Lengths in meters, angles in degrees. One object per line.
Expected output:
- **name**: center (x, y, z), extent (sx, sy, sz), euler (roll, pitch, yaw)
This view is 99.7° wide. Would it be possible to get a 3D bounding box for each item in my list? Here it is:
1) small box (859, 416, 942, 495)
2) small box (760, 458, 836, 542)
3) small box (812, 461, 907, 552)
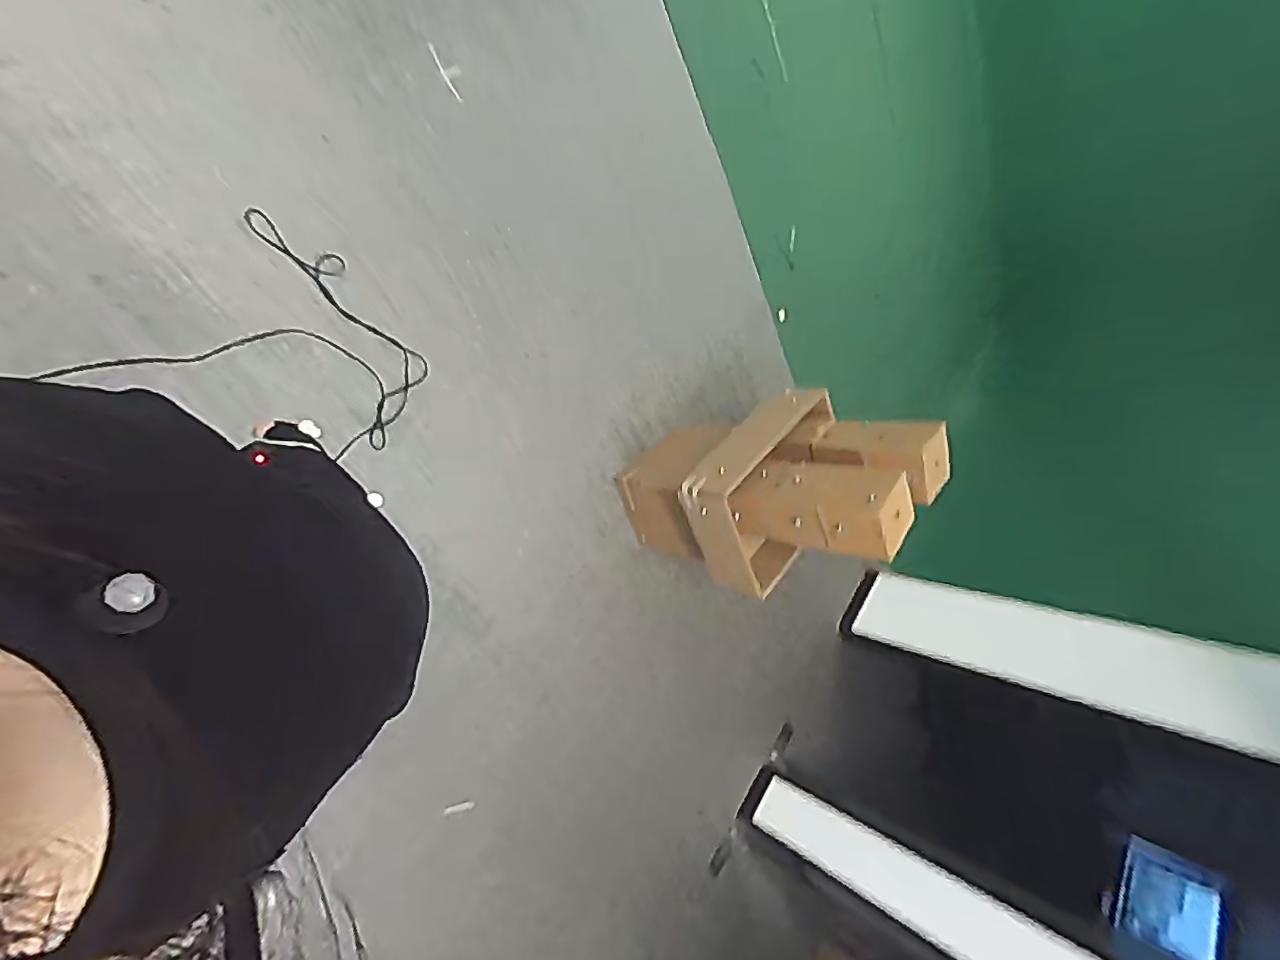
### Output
- **small box**: center (0.764, -0.077, 1.591), extent (0.168, 0.176, 0.179), euler (-37, 120, -32)
- **small box**: center (0.471, 0.053, 1.559), extent (0.168, 0.176, 0.179), euler (-46, 123, -30)
- **small box**: center (0.586, 0.063, 1.443), extent (0.179, 0.176, 0.168), euler (-45, 124, -30)
